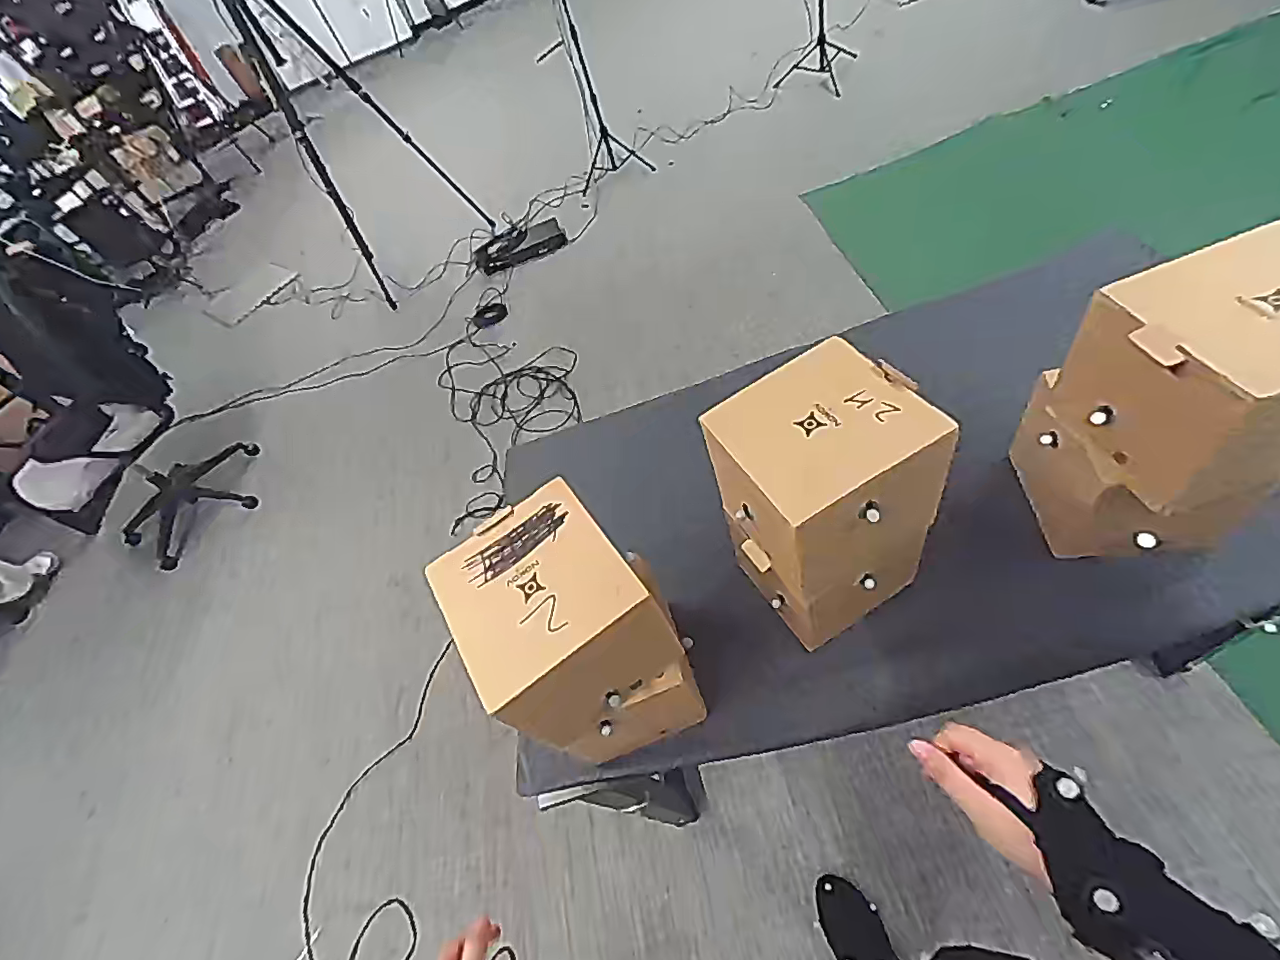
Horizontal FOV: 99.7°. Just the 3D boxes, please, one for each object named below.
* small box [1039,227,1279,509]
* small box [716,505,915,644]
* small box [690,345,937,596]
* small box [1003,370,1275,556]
[{"bbox_3d":[0.541,-0.101,0.524,0.179,0.176,0.168,-22,50,5],"label":"small box"},{"bbox_3d":[0.228,0.087,0.715,0.179,0.176,0.168,-33,52,-6],"label":"small box"},{"bbox_3d":[0.182,-0.004,0.585,0.179,0.176,0.168,-31,51,-4],"label":"small box"},{"bbox_3d":[0.579,-0.026,0.665,0.168,0.176,0.179,-8,53,15],"label":"small box"}]
